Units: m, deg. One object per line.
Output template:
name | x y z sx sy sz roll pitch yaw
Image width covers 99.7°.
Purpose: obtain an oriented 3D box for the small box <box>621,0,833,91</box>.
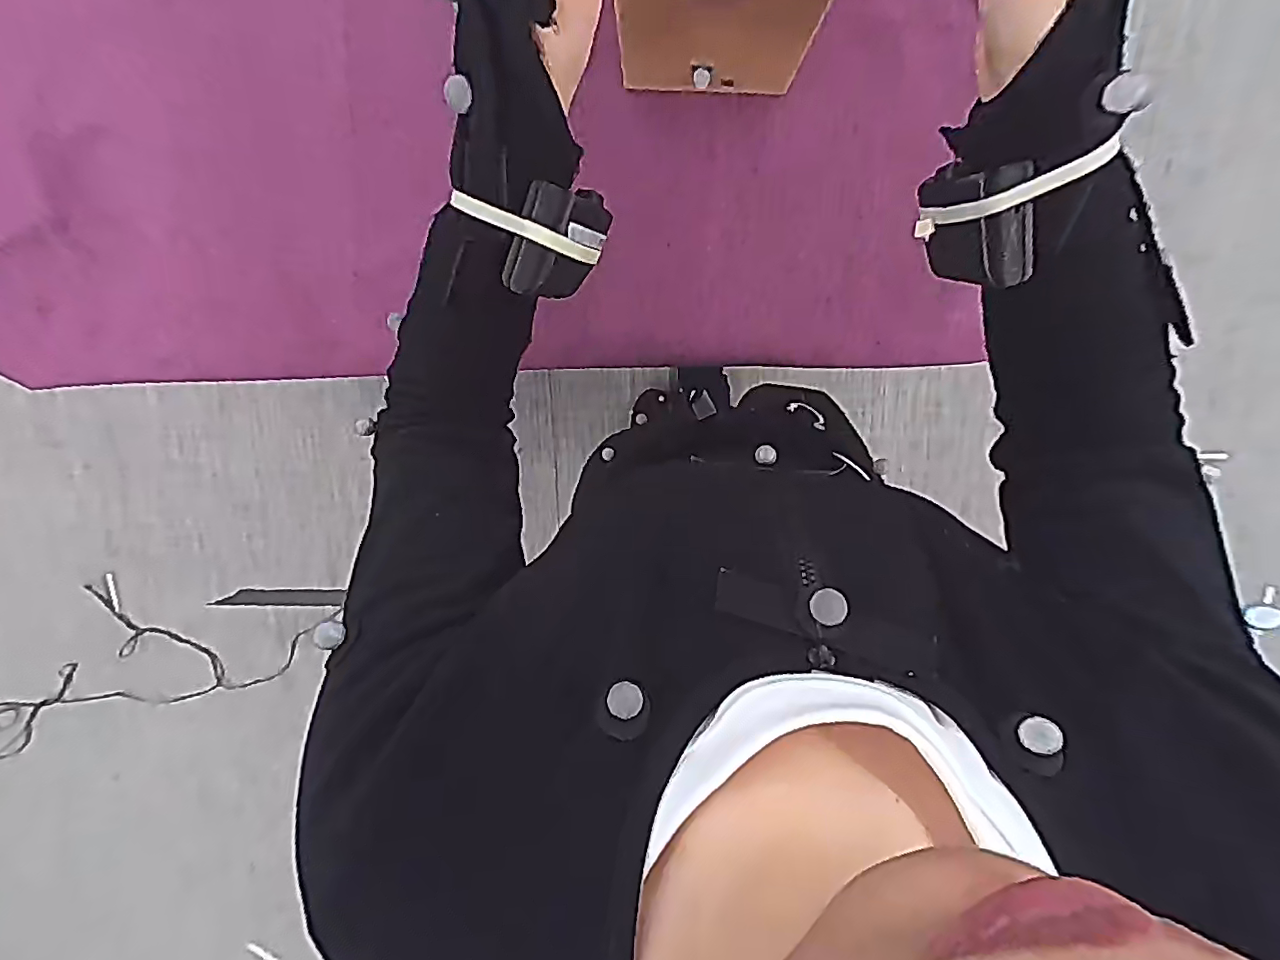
small box | 0.070 -0.462 0.446 0.168 0.176 0.179 3 104 1
